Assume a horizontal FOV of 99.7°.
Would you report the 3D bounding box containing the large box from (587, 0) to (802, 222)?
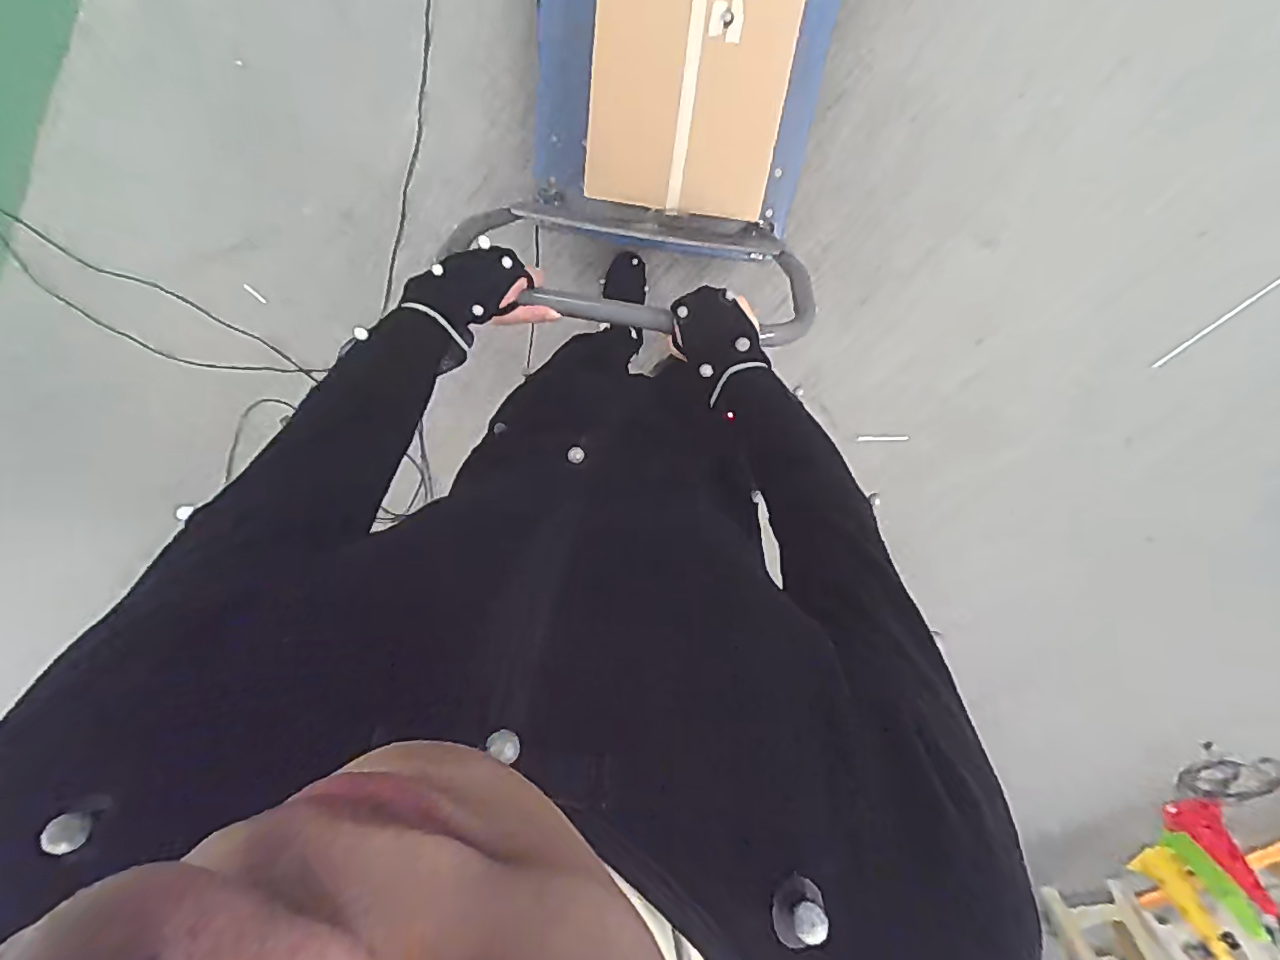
[{"bbox_3d":[0.094,-0.721,1.007,0.320,0.320,0.408,9,117,0],"label":"large box"}]
